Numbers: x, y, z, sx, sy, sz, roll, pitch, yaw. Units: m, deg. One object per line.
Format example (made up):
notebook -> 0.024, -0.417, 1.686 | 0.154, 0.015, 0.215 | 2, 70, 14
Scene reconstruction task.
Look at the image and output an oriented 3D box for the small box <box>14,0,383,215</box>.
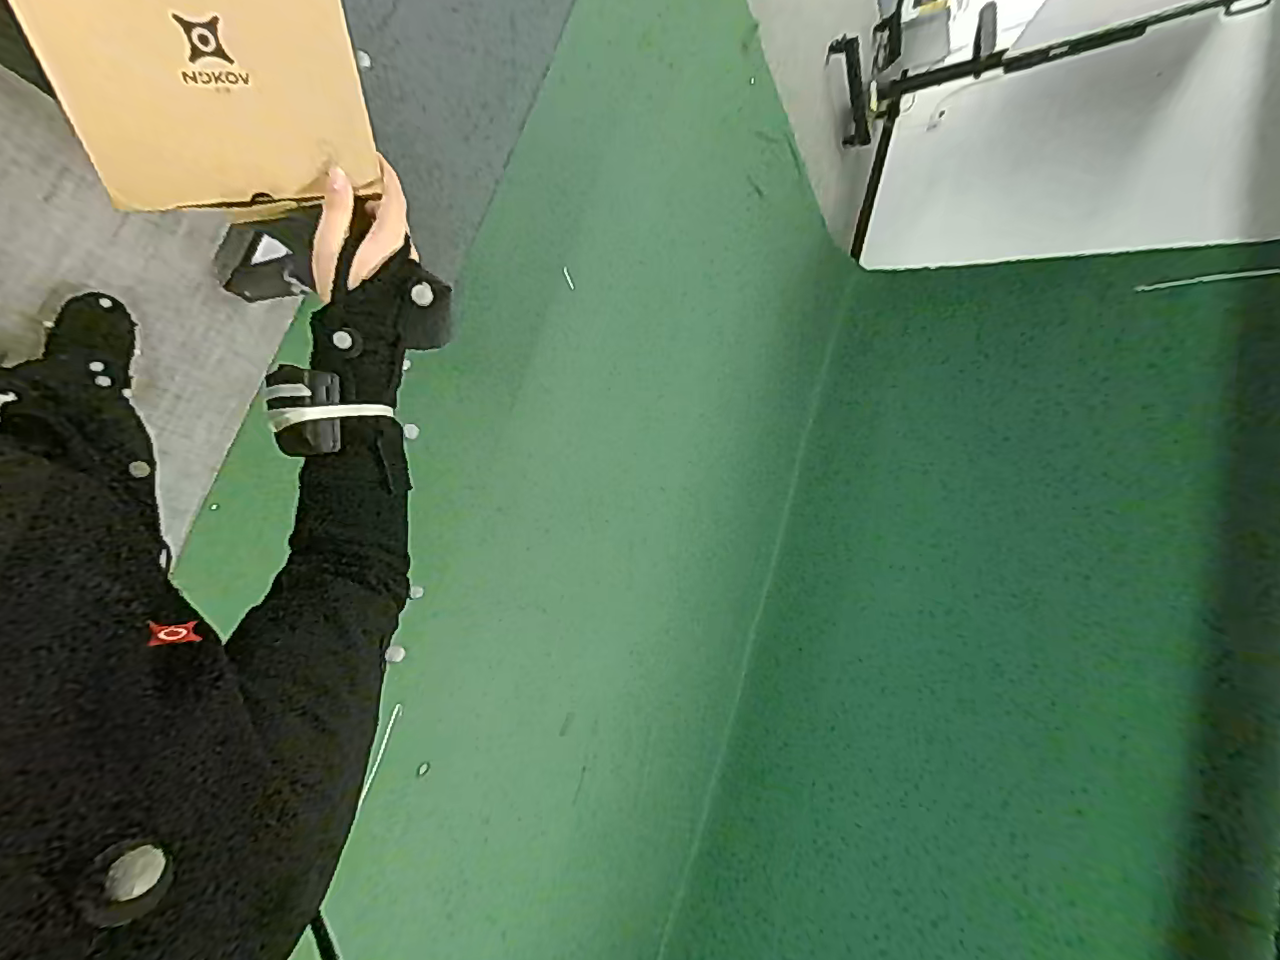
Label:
small box -> -0.304, -0.308, 0.387 | 0.168, 0.176, 0.179 | -19, 132, -24
